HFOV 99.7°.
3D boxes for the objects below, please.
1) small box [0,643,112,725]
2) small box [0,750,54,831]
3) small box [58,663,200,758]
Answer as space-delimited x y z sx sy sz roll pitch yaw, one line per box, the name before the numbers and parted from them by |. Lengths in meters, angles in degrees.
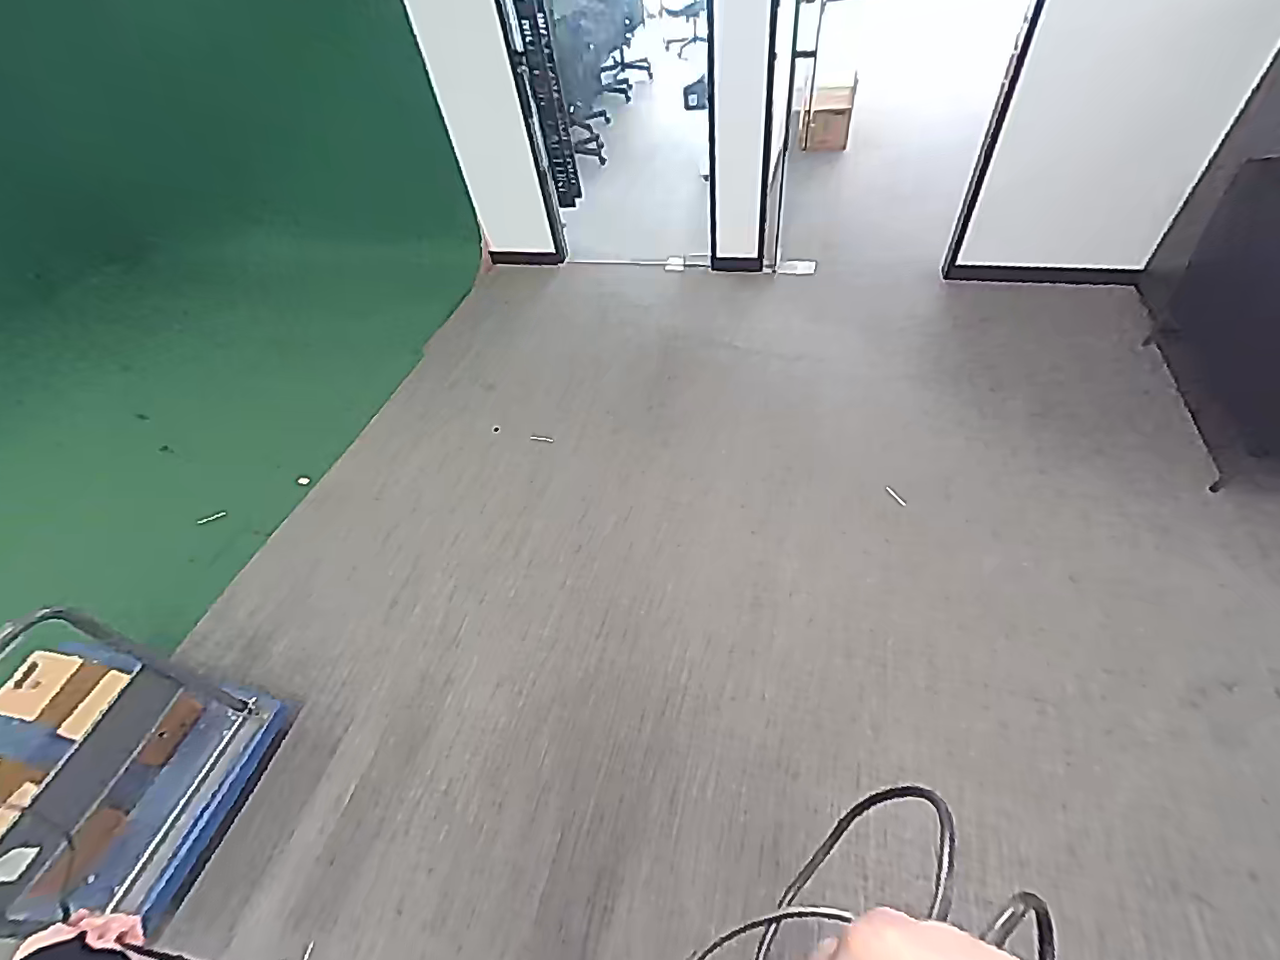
small box | -1.596 0.573 1.495 0.179 0.176 0.168 6 52 11
small box | -1.647 0.764 1.340 0.179 0.176 0.168 6 50 12
small box | -1.338 0.613 1.429 0.179 0.176 0.168 10 52 14
